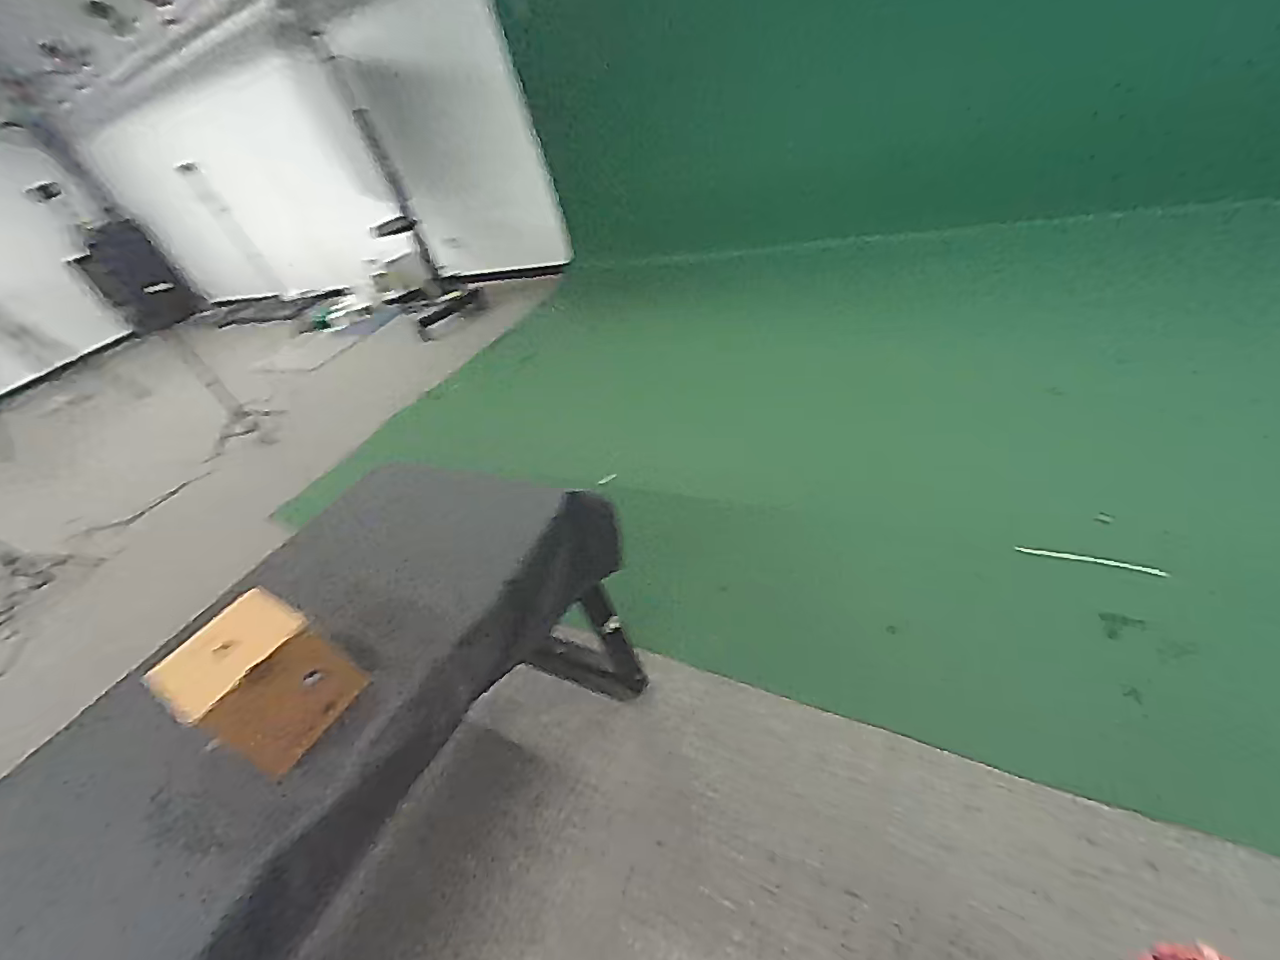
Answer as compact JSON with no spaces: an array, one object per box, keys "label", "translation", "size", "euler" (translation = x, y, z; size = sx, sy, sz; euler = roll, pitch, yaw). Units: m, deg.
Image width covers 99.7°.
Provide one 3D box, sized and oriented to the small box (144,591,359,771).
[{"label":"small box","translation":[-0.565,0.300,0.807],"size":[0.179,0.176,0.168],"euler":[10,45,34]}]
